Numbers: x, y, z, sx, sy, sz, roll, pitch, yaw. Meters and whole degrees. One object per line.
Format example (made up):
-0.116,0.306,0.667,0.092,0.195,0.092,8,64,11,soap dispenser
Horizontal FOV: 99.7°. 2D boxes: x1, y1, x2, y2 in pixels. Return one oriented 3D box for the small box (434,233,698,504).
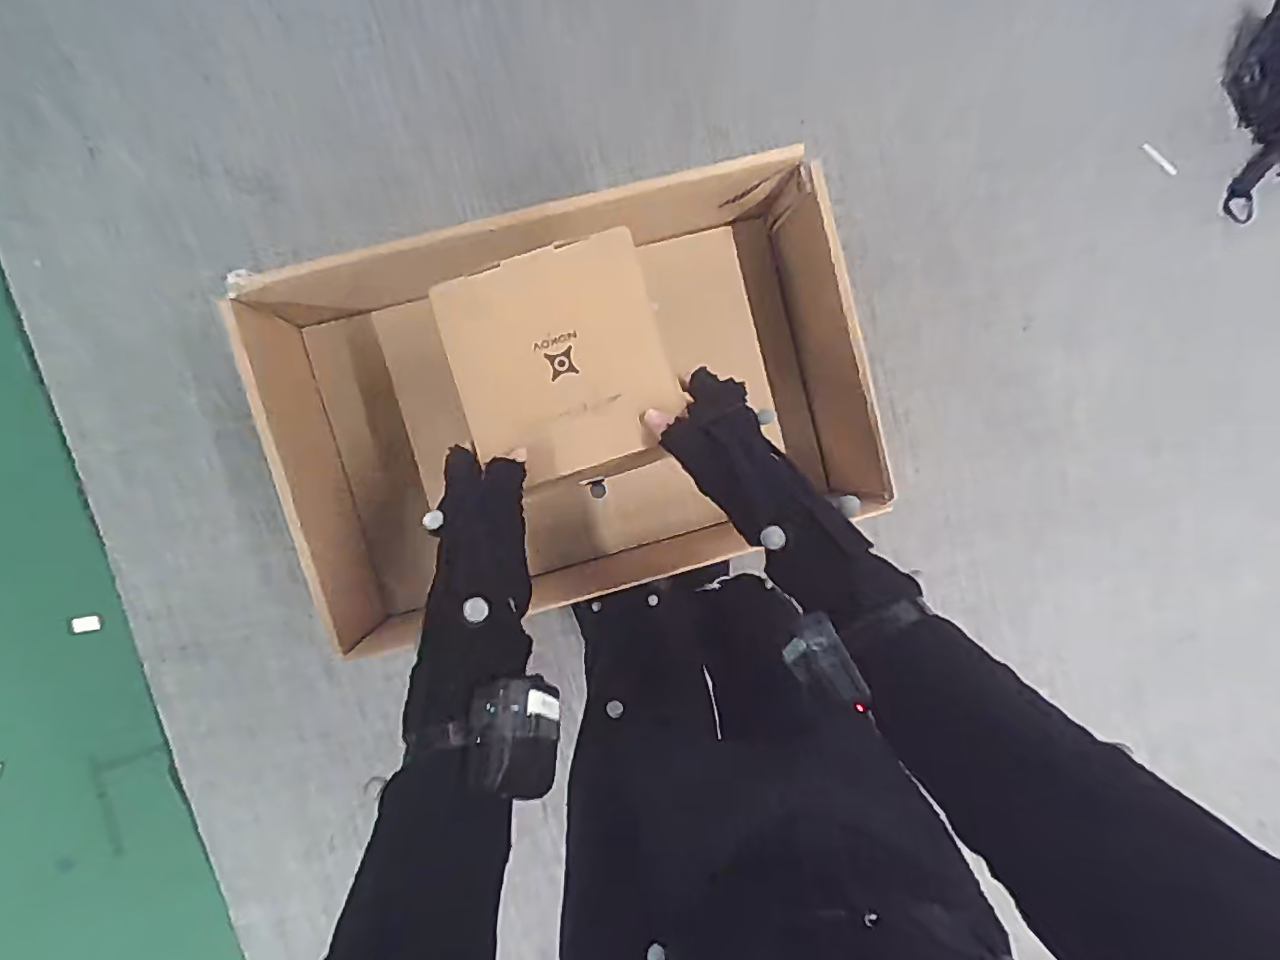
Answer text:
-0.058,-0.083,0.495,0.168,0.176,0.179,-19,87,0,small box
